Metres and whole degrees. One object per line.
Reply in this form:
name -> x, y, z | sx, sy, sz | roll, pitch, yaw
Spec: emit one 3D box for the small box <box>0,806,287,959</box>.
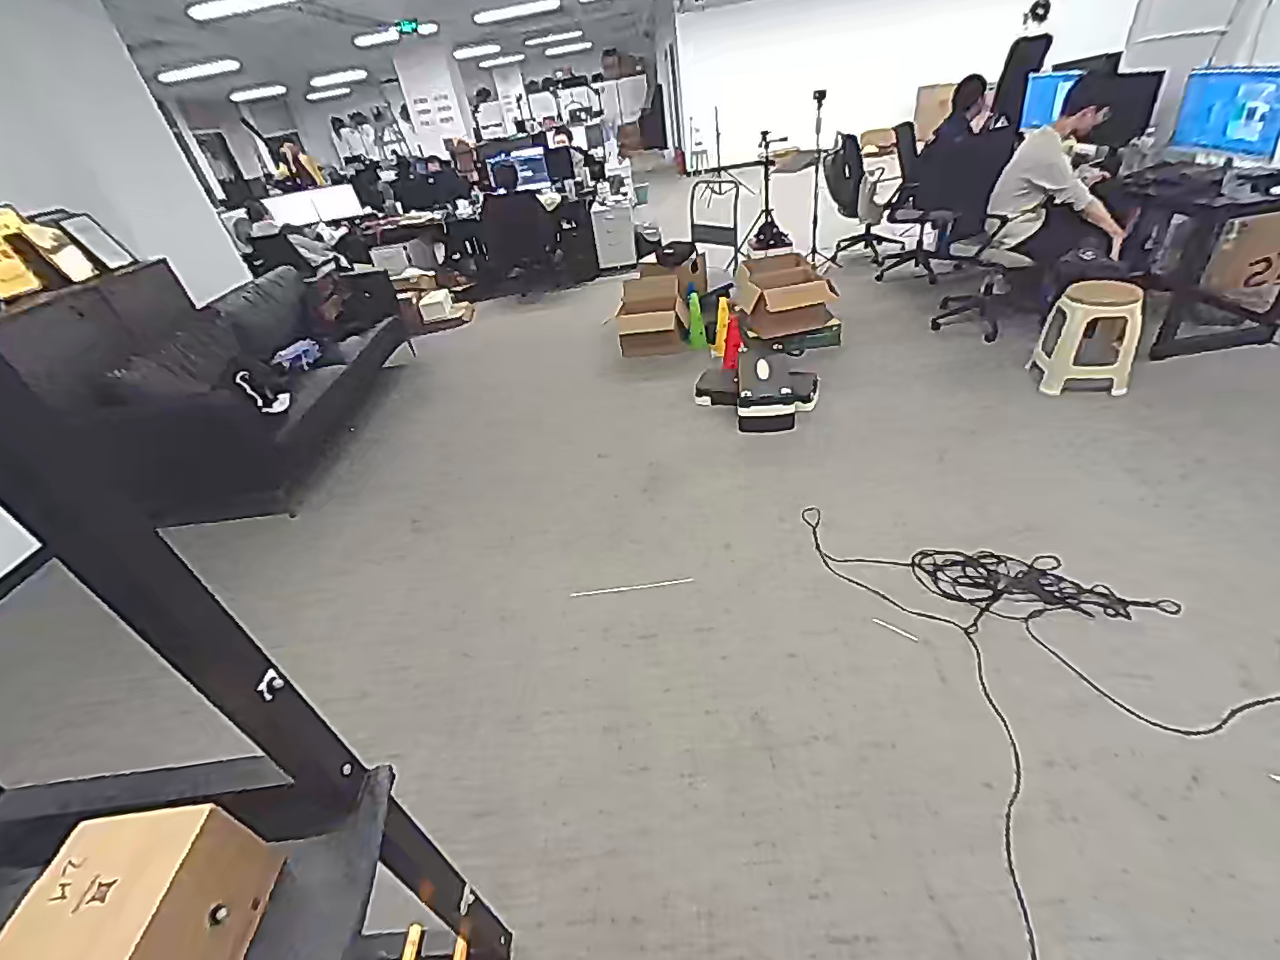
small box -> -0.575, 0.524, 0.648 | 0.179, 0.176, 0.168 | -10, 35, 3
